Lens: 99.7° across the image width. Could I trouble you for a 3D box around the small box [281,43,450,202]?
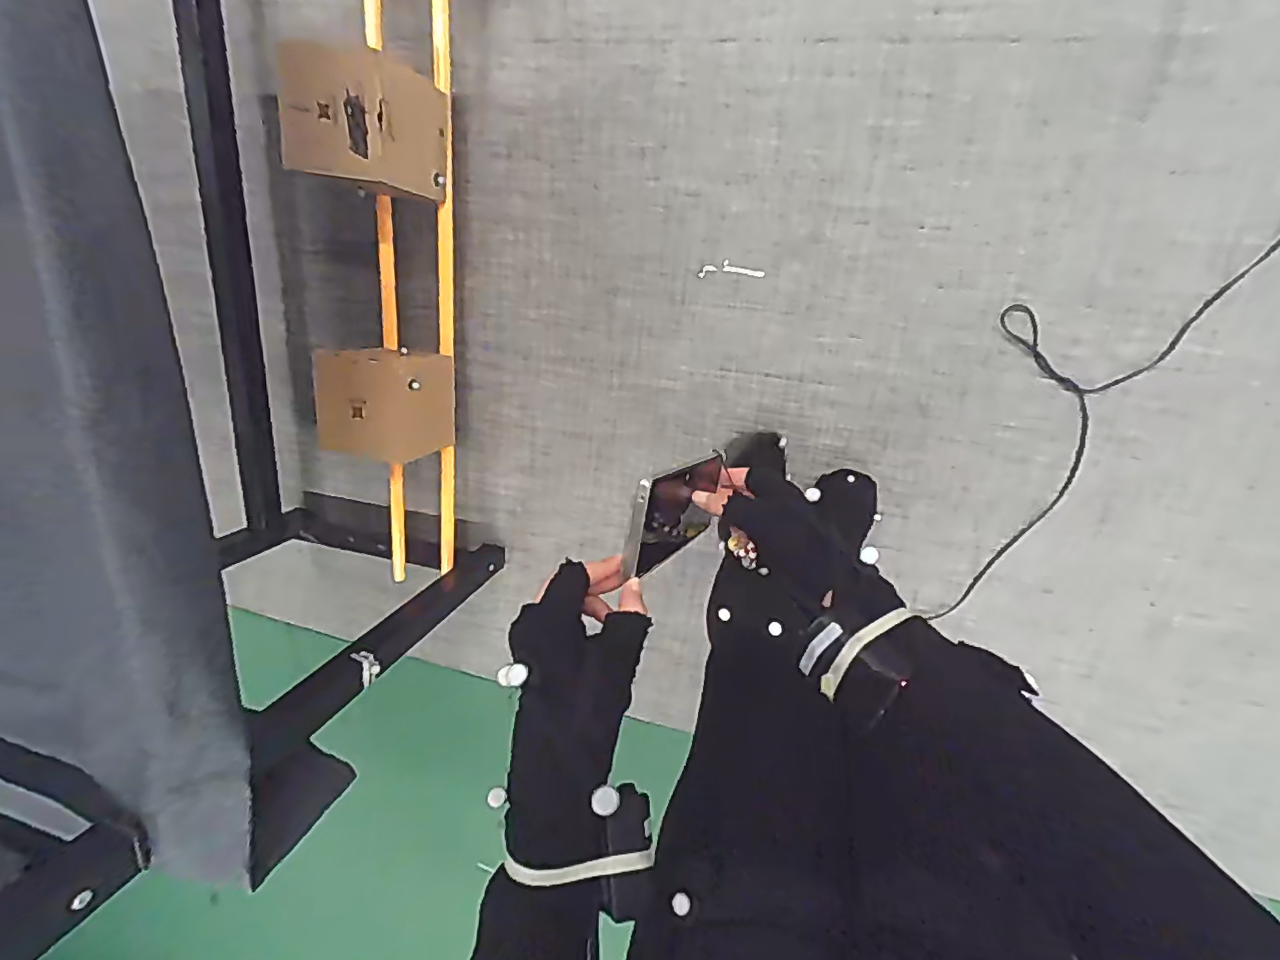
[{"bbox_3d":[-0.421,-0.550,0.853,0.179,0.176,0.168,13,108,12],"label":"small box"}]
